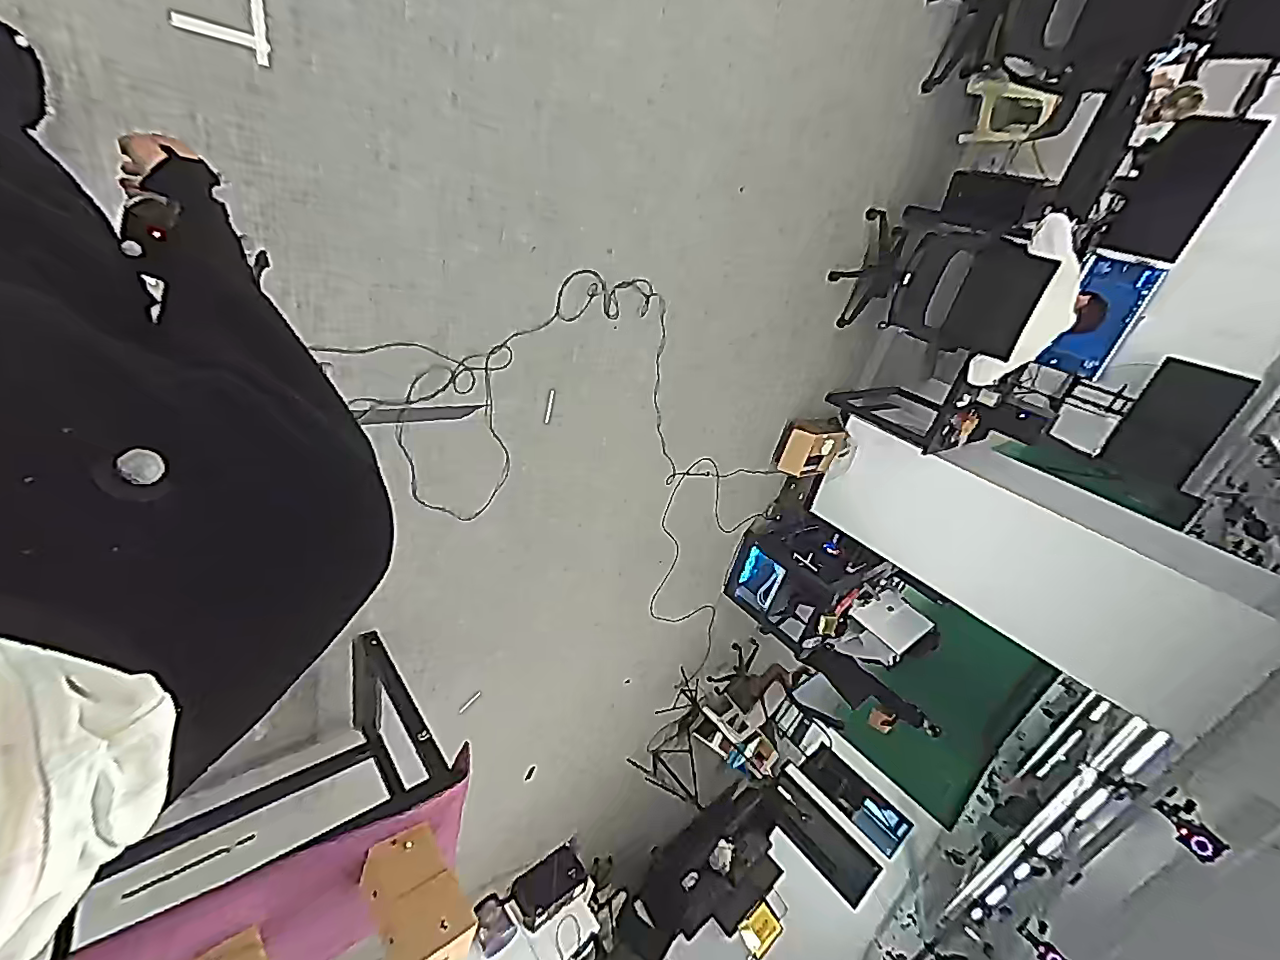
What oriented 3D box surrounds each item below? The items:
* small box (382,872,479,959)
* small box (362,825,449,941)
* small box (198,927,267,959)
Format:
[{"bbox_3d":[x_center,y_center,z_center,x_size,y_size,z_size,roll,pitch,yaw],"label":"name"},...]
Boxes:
[{"bbox_3d":[-0.564,1.213,1.451,0.179,0.176,0.168,-3,120,-46],"label":"small box"},{"bbox_3d":[-0.677,1.144,1.550,0.168,0.176,0.179,0,118,-47],"label":"small box"},{"bbox_3d":[-0.990,1.235,1.287,0.179,0.176,0.168,-13,130,-40],"label":"small box"}]
